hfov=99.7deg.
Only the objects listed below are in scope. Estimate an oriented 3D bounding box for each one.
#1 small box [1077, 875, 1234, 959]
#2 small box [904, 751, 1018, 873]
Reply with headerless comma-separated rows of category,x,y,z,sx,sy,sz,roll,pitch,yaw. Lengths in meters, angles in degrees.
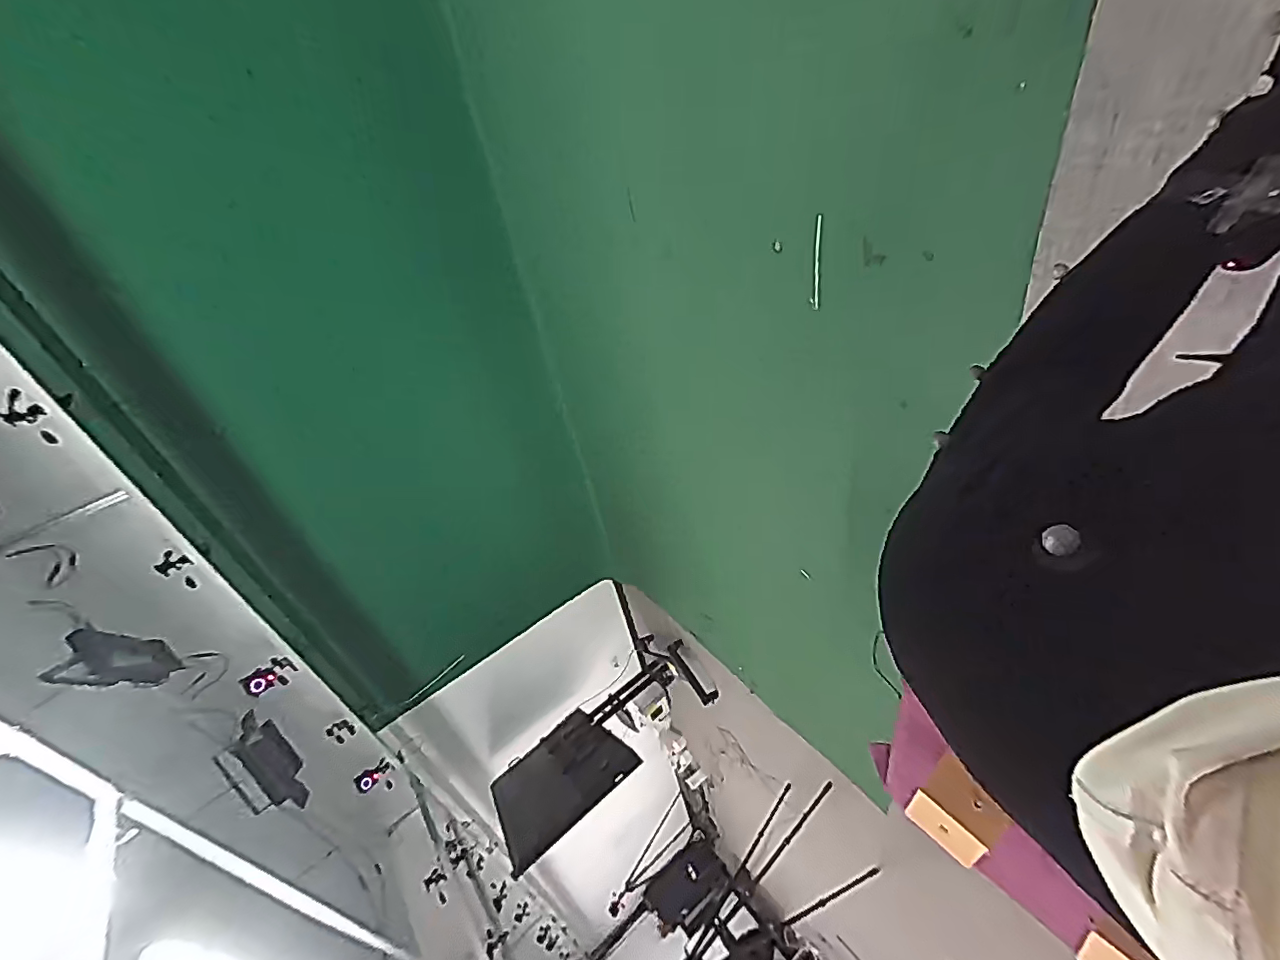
small box,1.002,0.933,1.056,0.168,0.176,0.179,28,143,48
small box,0.785,0.805,1.323,0.168,0.176,0.179,36,149,39
